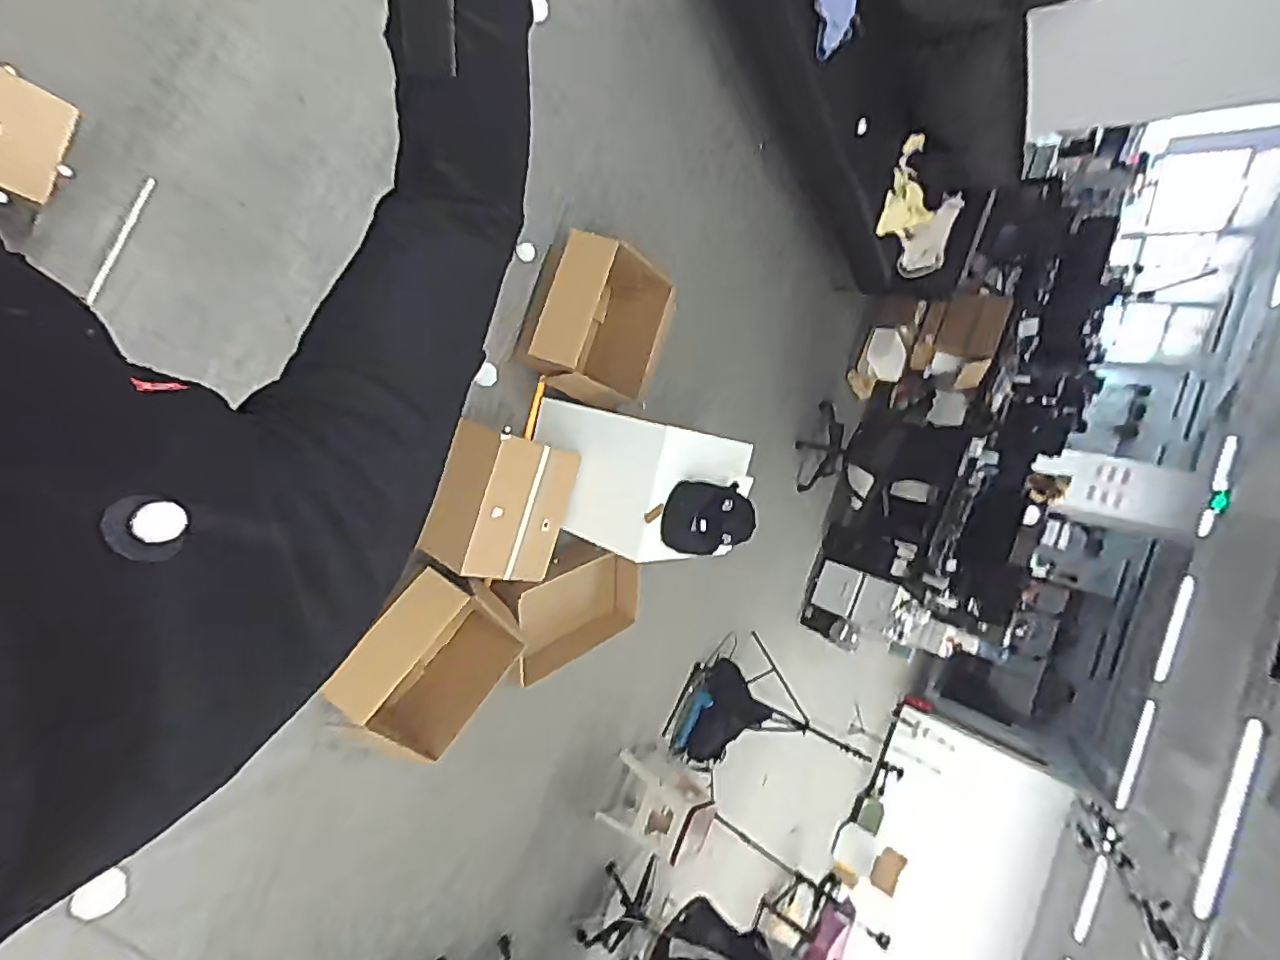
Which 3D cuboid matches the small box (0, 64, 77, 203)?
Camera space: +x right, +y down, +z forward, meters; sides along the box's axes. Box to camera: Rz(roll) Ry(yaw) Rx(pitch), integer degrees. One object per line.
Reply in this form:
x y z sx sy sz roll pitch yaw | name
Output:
-1.024 -0.553 0.831 0.179 0.176 0.168 21 87 -52 | small box
